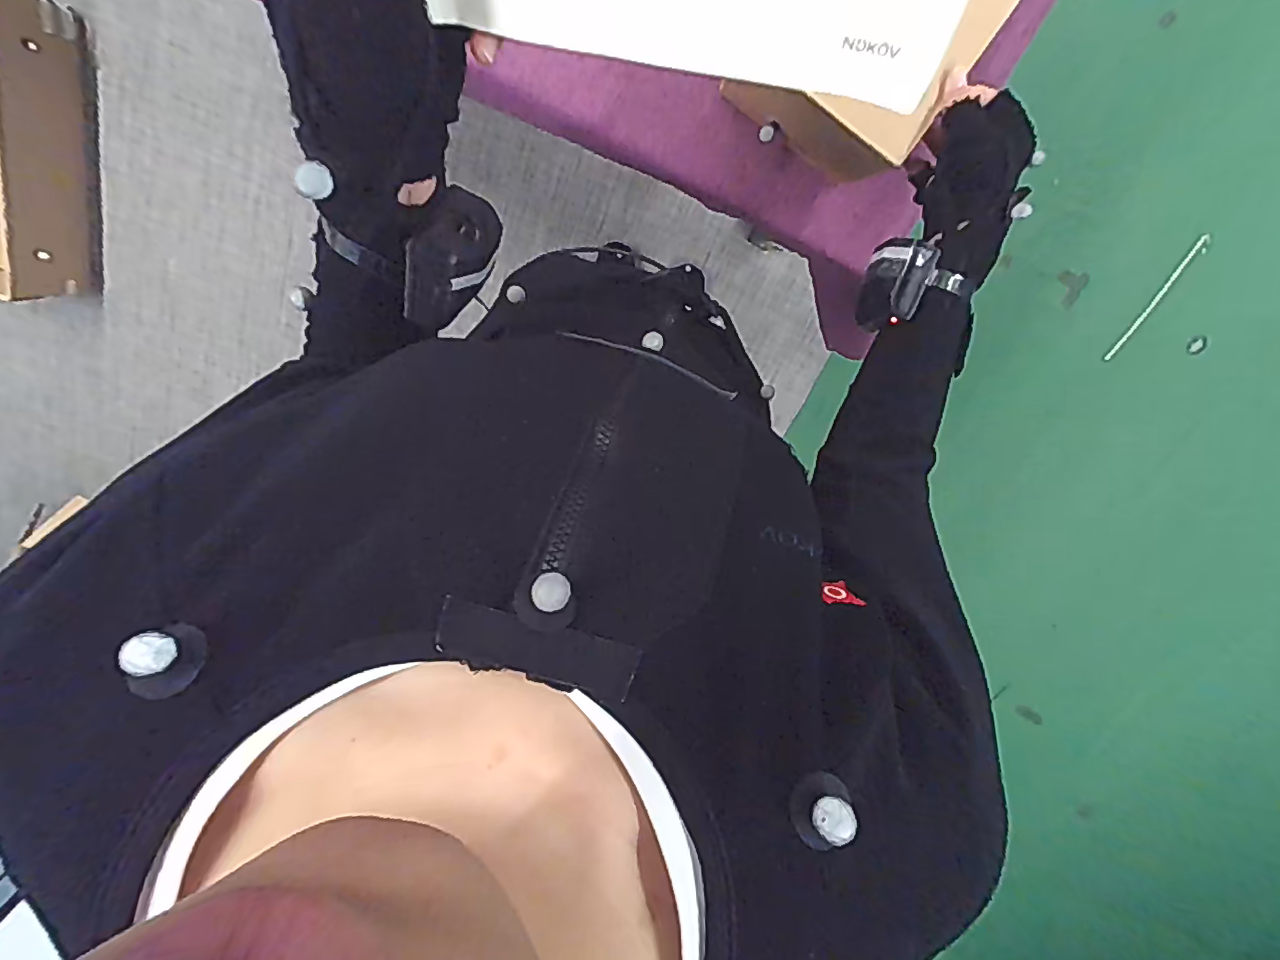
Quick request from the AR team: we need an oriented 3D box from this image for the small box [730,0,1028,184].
[{"bbox_3d":[0.194,-0.391,0.471,0.168,0.176,0.179,31,112,-11],"label":"small box"}]
